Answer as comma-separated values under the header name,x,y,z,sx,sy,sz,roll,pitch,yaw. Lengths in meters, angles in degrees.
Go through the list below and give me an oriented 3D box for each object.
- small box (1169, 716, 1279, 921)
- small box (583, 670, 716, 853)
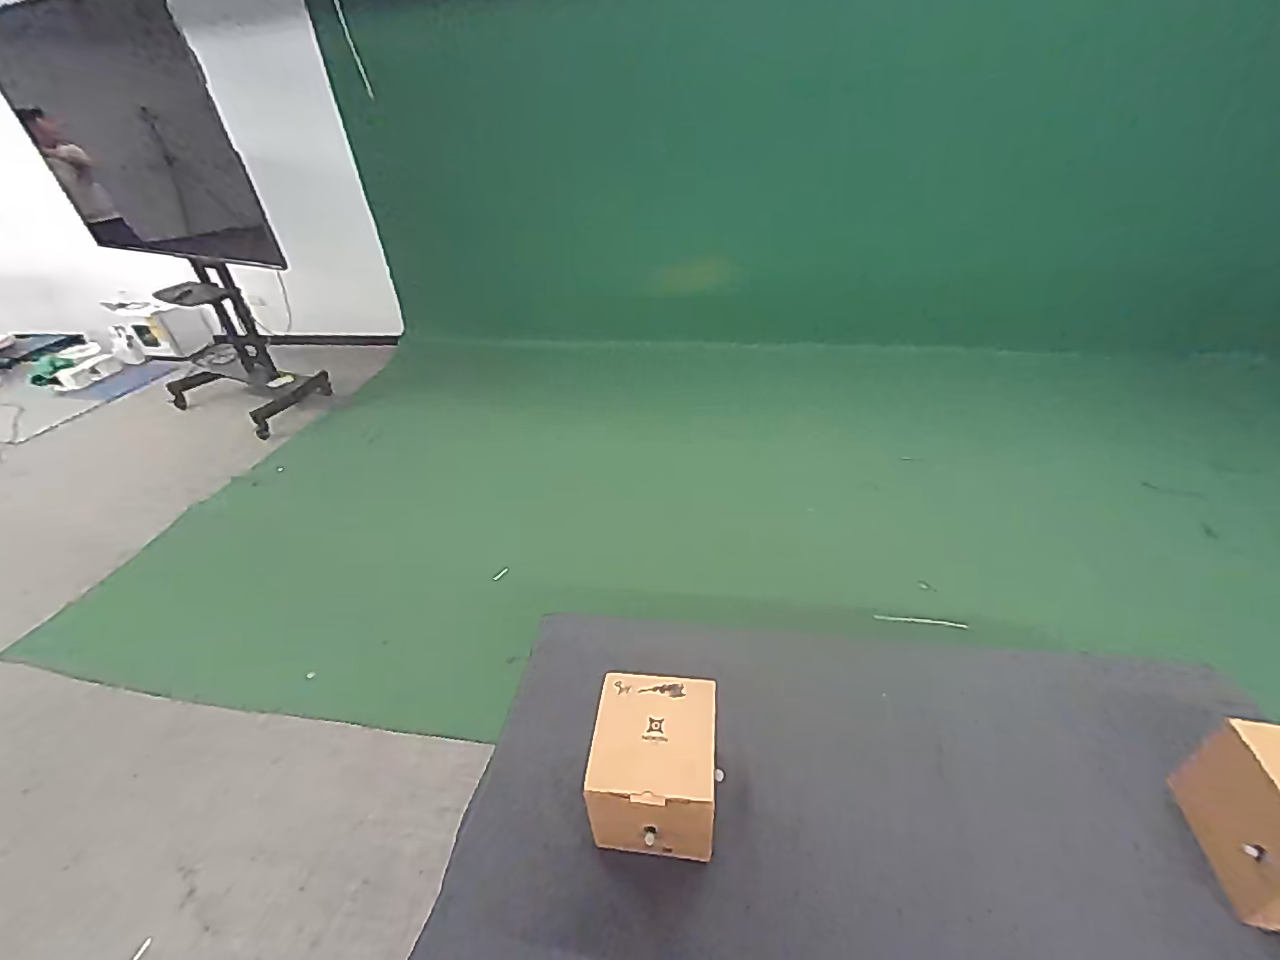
name,x,y,z,sx,sy,sz,roll,pitch,yaw
small box,0.823,0.426,0.661,0.168,0.176,0.179,5,35,11
small box,0.024,0.404,0.779,0.168,0.176,0.179,2,36,8
